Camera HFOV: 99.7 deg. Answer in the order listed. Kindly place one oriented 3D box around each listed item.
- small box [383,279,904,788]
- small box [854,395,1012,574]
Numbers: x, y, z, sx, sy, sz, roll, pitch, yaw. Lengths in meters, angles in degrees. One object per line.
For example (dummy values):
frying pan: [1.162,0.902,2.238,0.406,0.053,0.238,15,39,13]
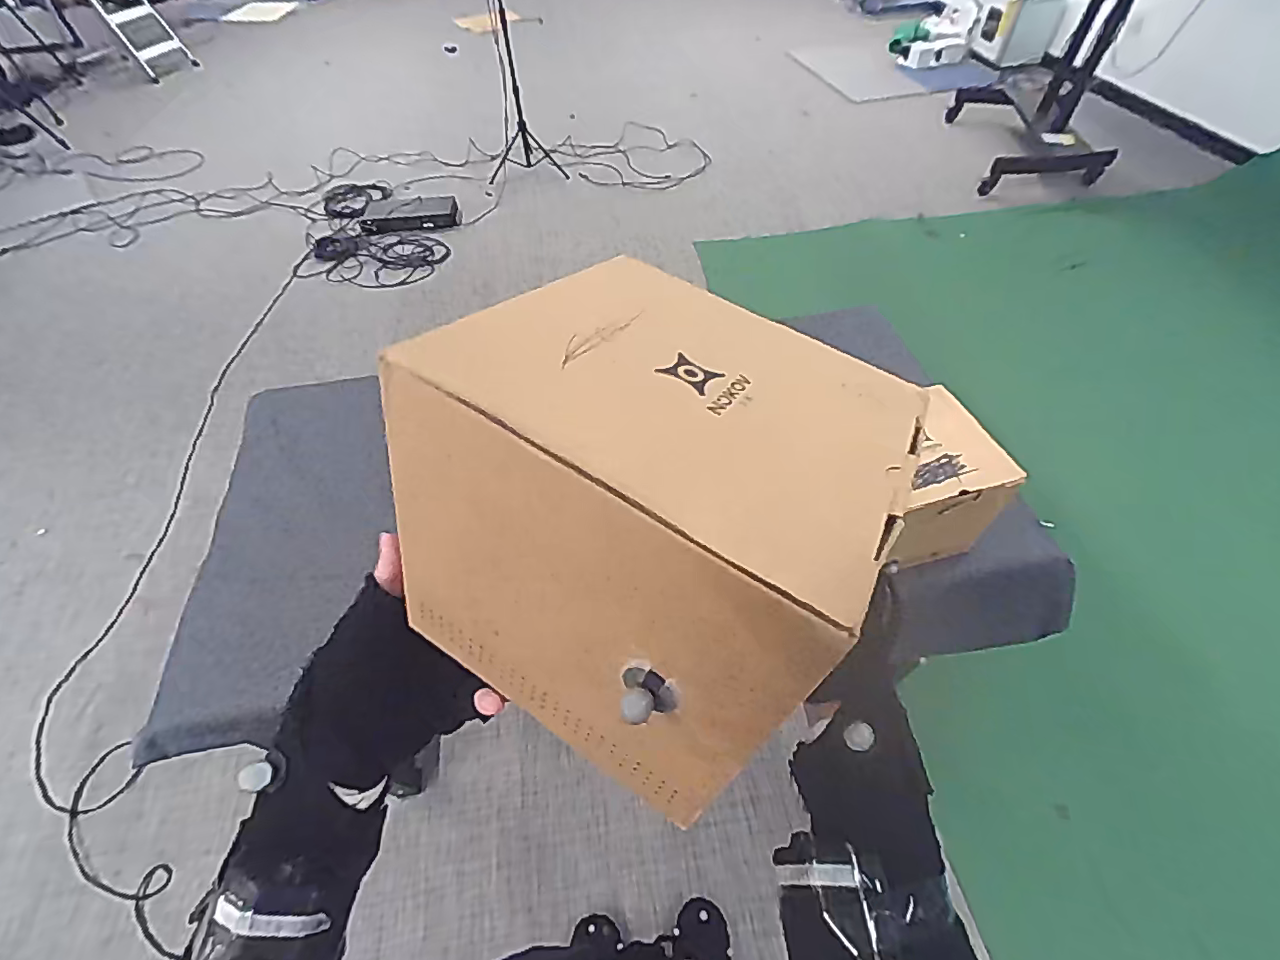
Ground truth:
small box: [0.002,0.024,0.282,0.179,0.176,0.168,27,41,15]
small box: [0.355,0.014,0.752,0.168,0.176,0.179,-12,51,-7]
